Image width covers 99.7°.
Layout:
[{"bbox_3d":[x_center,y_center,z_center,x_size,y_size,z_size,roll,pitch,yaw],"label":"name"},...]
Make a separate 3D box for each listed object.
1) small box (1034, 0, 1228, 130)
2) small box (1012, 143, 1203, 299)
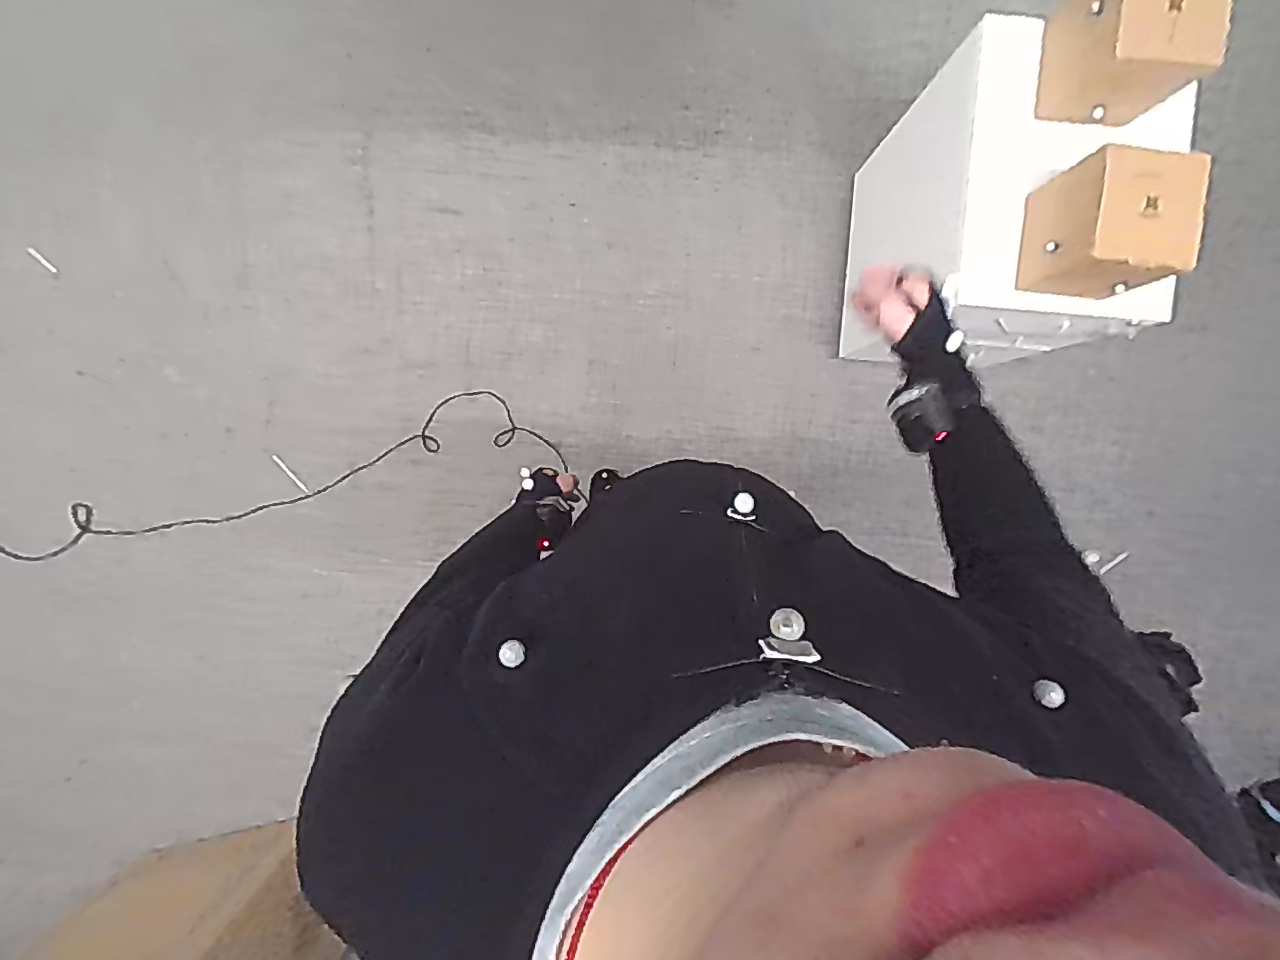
[{"bbox_3d":[0.786,-0.714,0.880,0.168,0.176,0.179,4,95,-2],"label":"small box"},{"bbox_3d":[0.761,-0.416,0.899,0.168,0.176,0.179,5,91,-4],"label":"small box"}]
